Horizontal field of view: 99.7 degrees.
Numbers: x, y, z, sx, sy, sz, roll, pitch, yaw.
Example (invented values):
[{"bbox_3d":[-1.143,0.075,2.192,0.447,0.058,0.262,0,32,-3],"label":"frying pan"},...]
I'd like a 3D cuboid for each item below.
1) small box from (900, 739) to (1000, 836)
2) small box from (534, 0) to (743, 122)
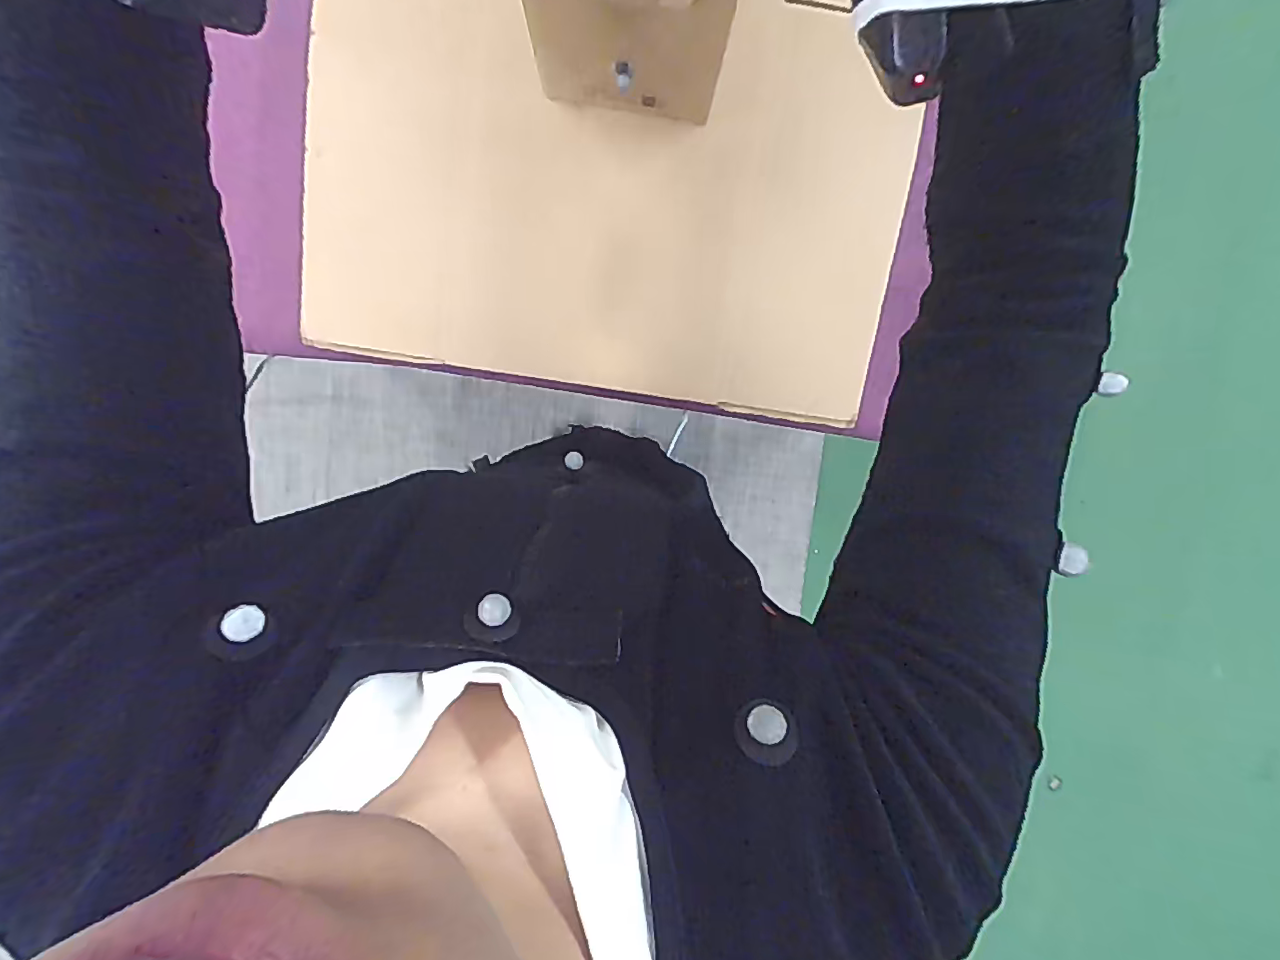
[{"bbox_3d":[0.862,0.855,1.520,0.179,0.176,0.168,7,96,-1],"label":"small box"},{"bbox_3d":[0.004,-0.446,0.446,0.168,0.176,0.179,9,94,-3],"label":"small box"}]
